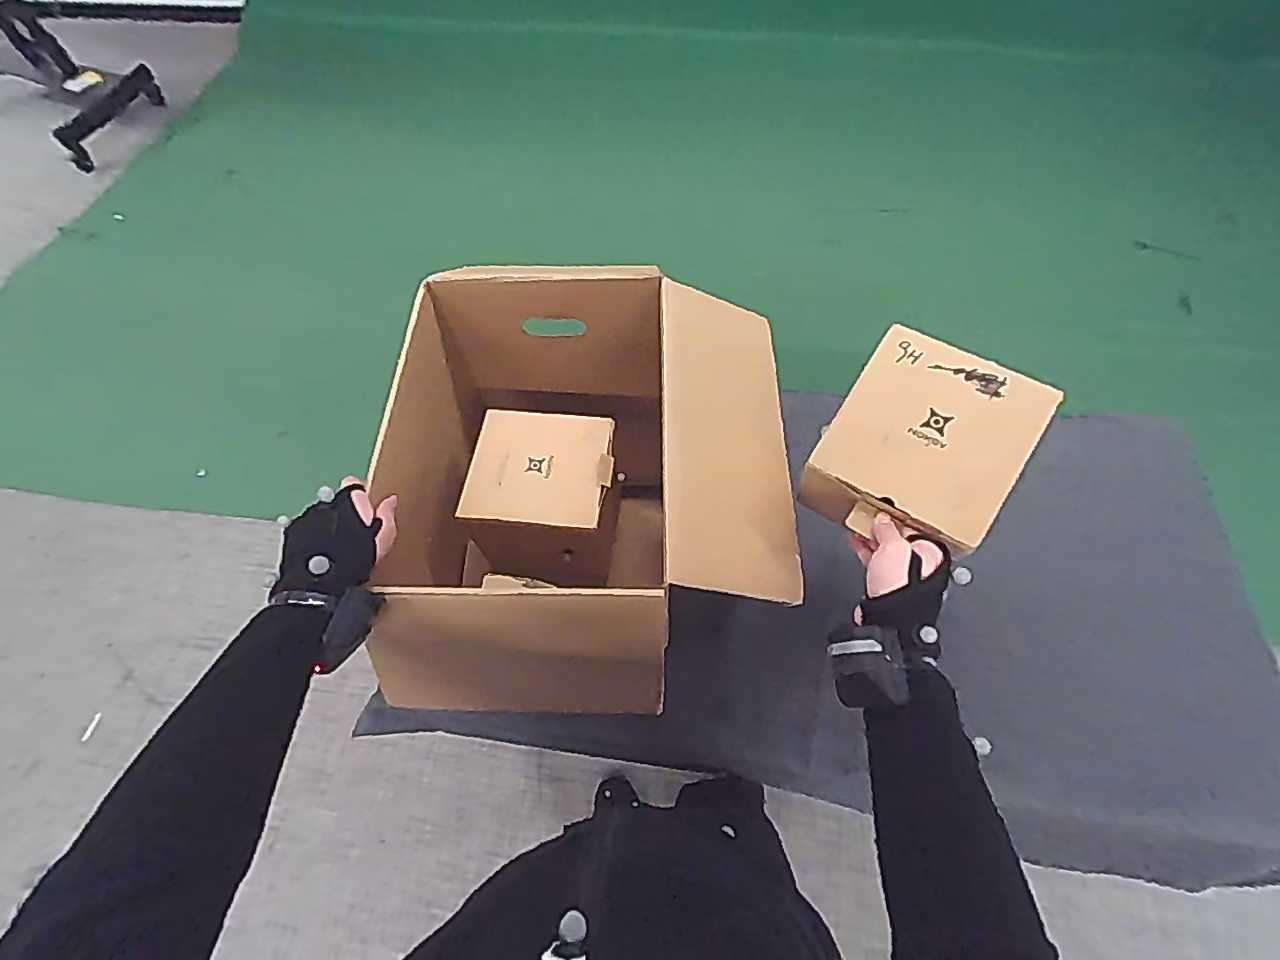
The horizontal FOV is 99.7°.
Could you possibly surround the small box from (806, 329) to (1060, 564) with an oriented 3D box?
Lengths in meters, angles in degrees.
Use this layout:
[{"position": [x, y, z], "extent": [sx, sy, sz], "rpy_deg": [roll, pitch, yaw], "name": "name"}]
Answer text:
[{"position": [0.299, -0.024, 0.593], "extent": [0.168, 0.176, 0.179], "rpy_deg": [31, 84, 20], "name": "small box"}]
